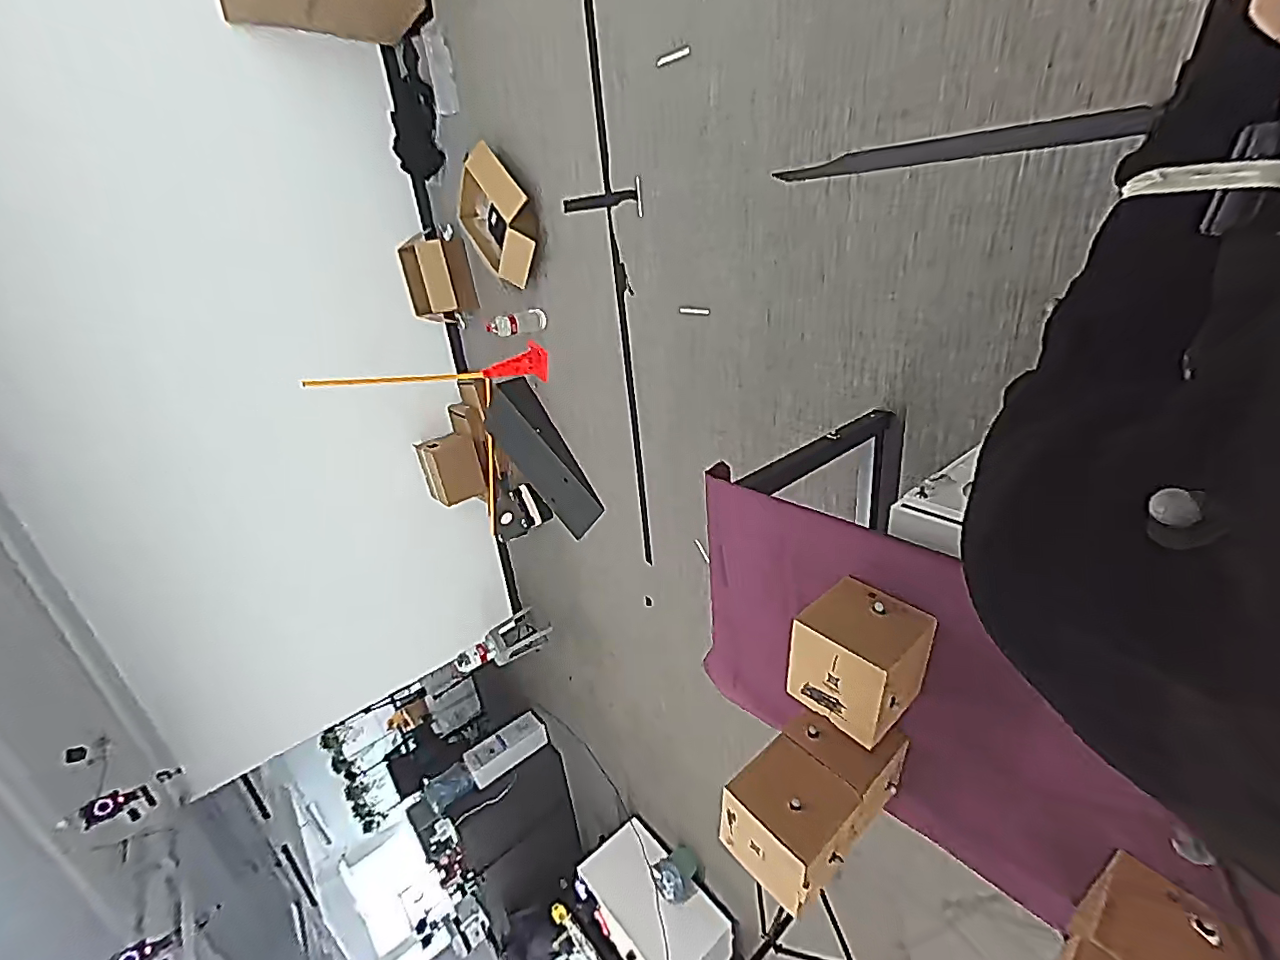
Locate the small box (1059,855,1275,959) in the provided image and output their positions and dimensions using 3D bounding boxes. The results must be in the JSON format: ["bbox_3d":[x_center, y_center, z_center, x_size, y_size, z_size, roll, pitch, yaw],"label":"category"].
[{"bbox_3d":[0.689,0.662,0.720,0.168,0.176,0.179,28,128,42],"label":"small box"}]

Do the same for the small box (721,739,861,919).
[{"bbox_3d":[0.268,0.611,0.969,0.179,0.176,0.168,27,129,42],"label":"small box"}]

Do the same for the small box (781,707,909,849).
[{"bbox_3d":[0.392,0.556,1.061,0.179,0.176,0.168,26,129,44],"label":"small box"}]

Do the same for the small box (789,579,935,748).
[{"bbox_3d":[0.379,0.304,0.929,0.168,0.176,0.179,25,130,44],"label":"small box"}]
